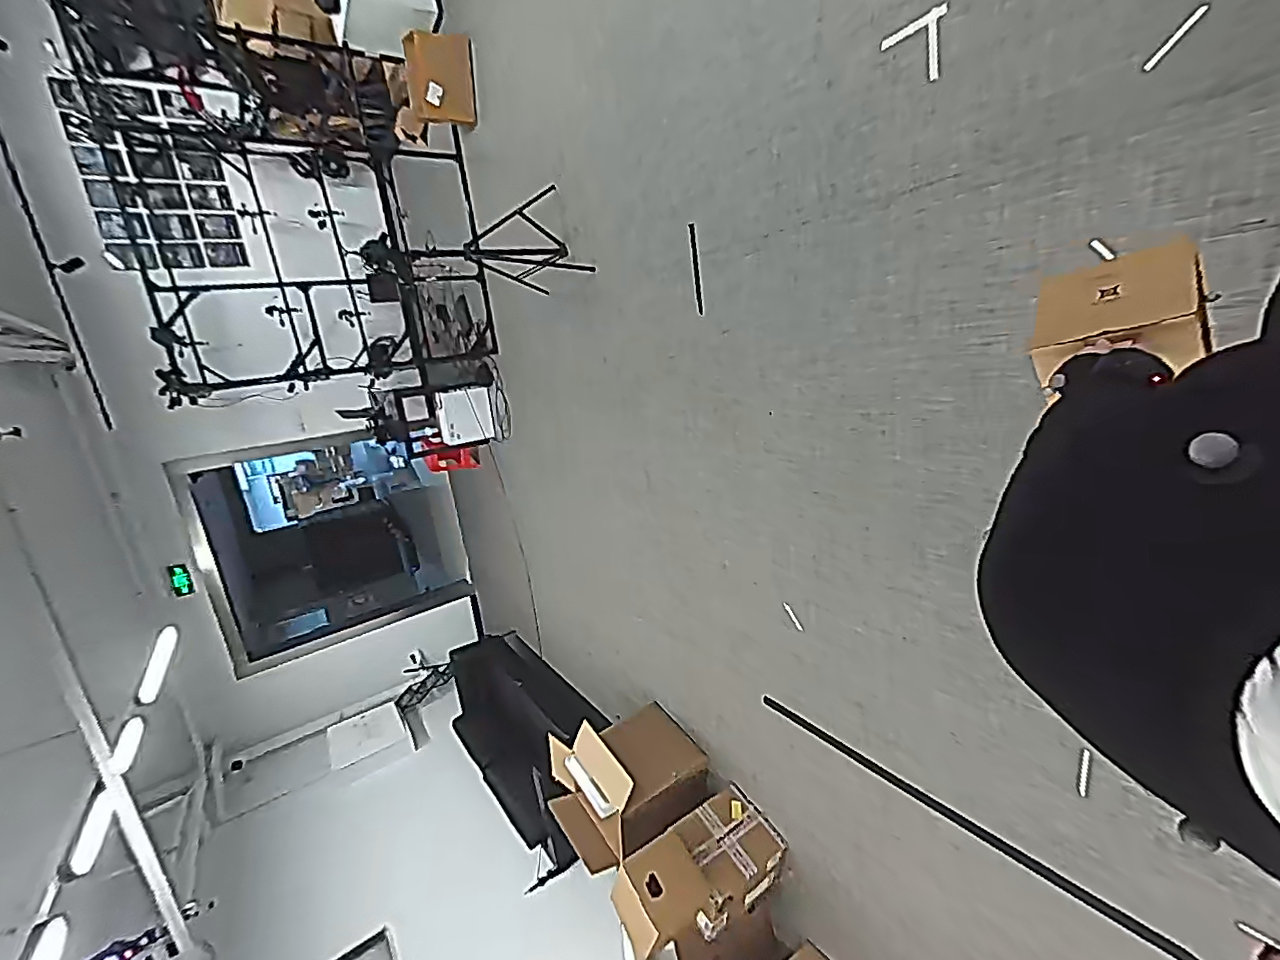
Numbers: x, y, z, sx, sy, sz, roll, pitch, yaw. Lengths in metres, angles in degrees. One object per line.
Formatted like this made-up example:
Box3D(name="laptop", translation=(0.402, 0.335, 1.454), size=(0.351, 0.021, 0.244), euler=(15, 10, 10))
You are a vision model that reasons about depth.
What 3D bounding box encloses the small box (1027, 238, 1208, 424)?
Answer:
Box3D(name="small box", translation=(0.677, -0.195, 0.765), size=(0.168, 0.179, 0.176), euler=(-6, 134, 48))
